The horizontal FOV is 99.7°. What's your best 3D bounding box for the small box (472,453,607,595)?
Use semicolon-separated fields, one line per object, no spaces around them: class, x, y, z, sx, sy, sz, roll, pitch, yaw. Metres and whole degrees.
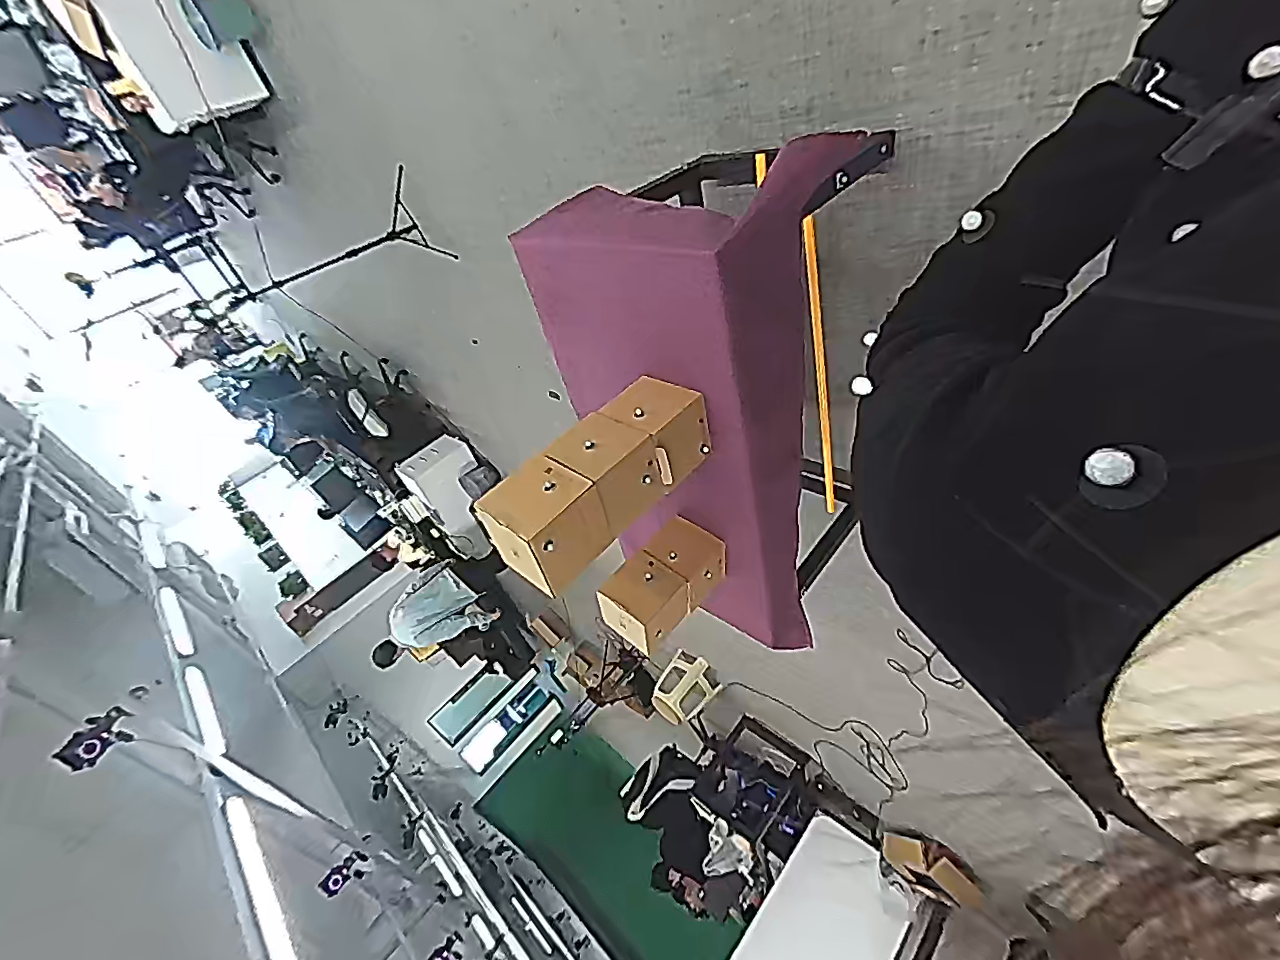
small box;-0.183;0.081;1.045;0.168;0.176;0.179;26;145;35

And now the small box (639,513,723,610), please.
small box;0.116;0.222;1.514;0.179;0.176;0.168;30;147;30

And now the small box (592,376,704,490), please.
small box;0.028;-0.112;1.203;0.179;0.176;0.168;26;145;38

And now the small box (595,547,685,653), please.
small box;0.006;0.315;1.434;0.168;0.176;0.179;30;147;29
